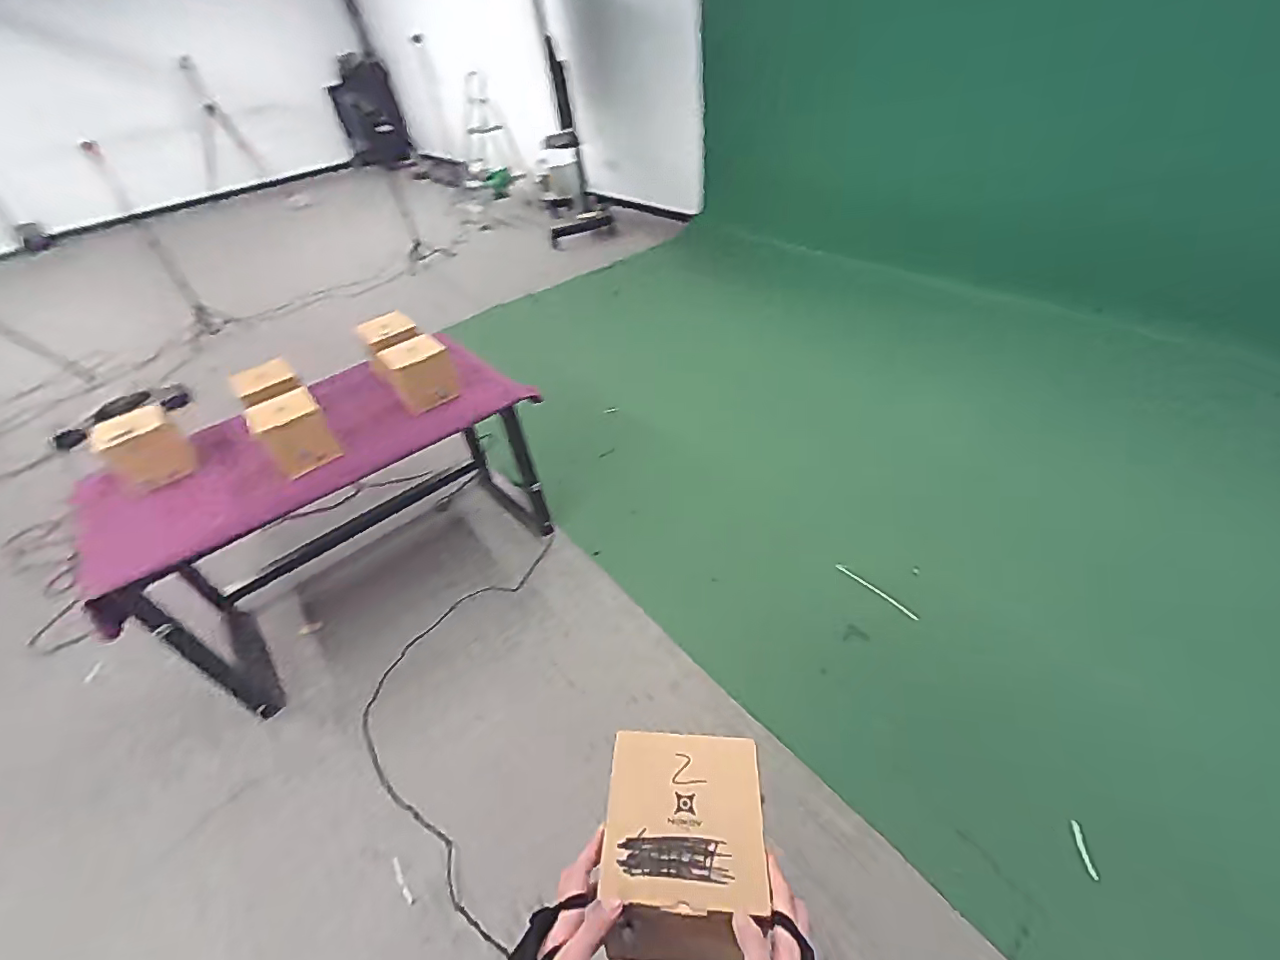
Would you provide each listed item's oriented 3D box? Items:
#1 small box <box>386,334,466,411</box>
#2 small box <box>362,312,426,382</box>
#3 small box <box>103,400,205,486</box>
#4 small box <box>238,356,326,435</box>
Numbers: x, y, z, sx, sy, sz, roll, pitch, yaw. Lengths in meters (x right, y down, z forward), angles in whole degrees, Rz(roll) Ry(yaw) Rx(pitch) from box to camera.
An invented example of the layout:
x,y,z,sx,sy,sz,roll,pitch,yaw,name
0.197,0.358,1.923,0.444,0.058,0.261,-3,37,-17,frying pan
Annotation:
x,y,z,sx,sy,sz,roll,pitch,yaw,name
-0.695,-0.350,1.762,0.168,0.176,0.179,-31,45,-23,small box
-0.855,-0.474,1.929,0.168,0.176,0.179,-33,48,-24,small box
-1.436,-0.104,1.605,0.168,0.176,0.179,-32,47,-26,small box
-1.158,-0.272,1.755,0.168,0.176,0.179,-32,48,-24,small box
